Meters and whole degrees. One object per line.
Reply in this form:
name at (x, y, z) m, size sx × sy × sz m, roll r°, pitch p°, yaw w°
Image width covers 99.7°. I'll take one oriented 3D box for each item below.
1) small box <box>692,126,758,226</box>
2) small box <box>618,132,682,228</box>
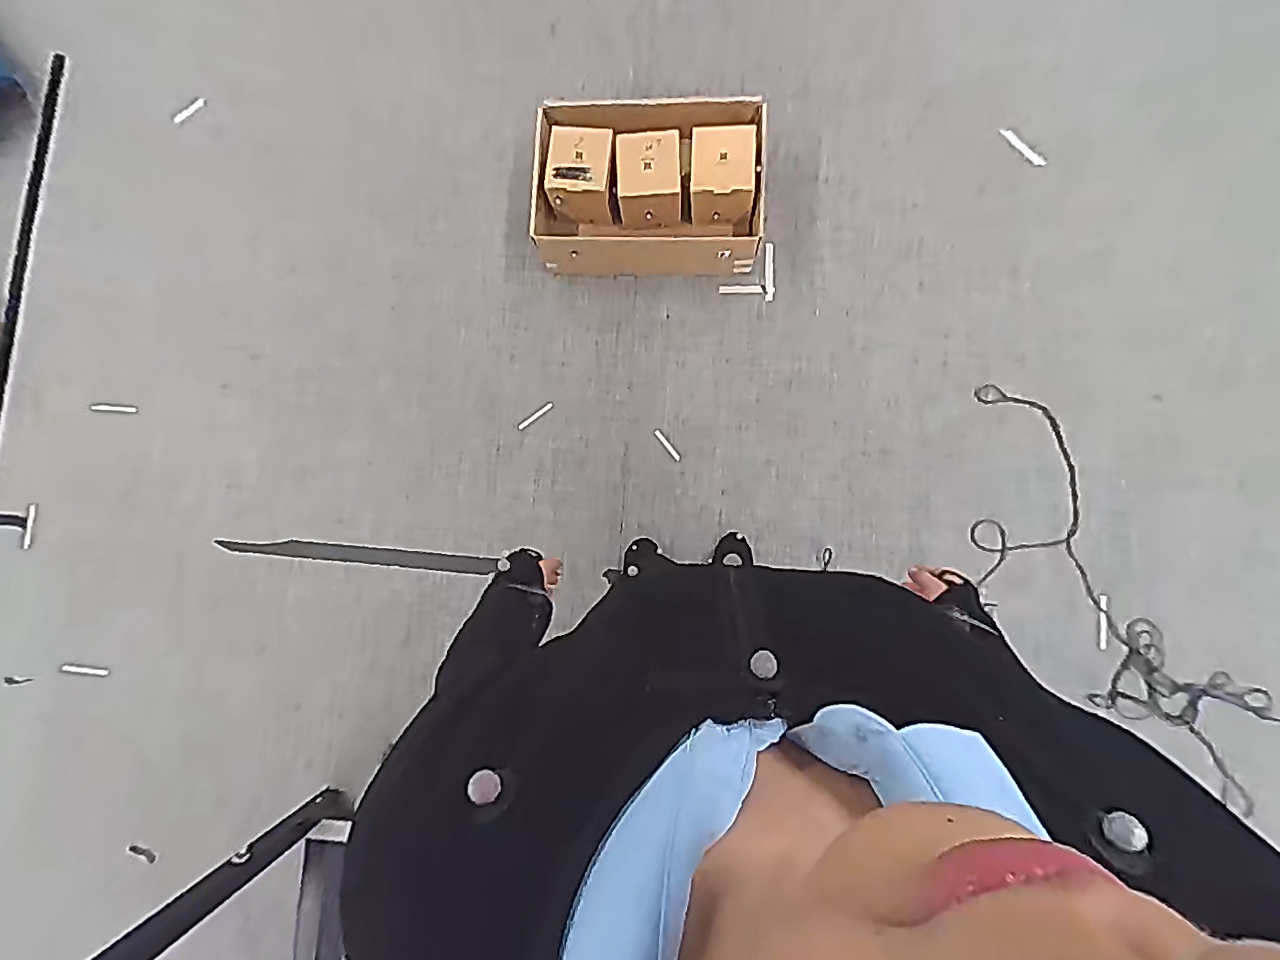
small box at (0.227, -0.819, 1.470) m, size 0.168 × 0.176 × 0.179 m, roll 2°, pitch 86°, yaw 7°
small box at (0.031, -0.814, 1.487) m, size 0.168 × 0.176 × 0.179 m, roll -2°, pitch 84°, yaw 4°
